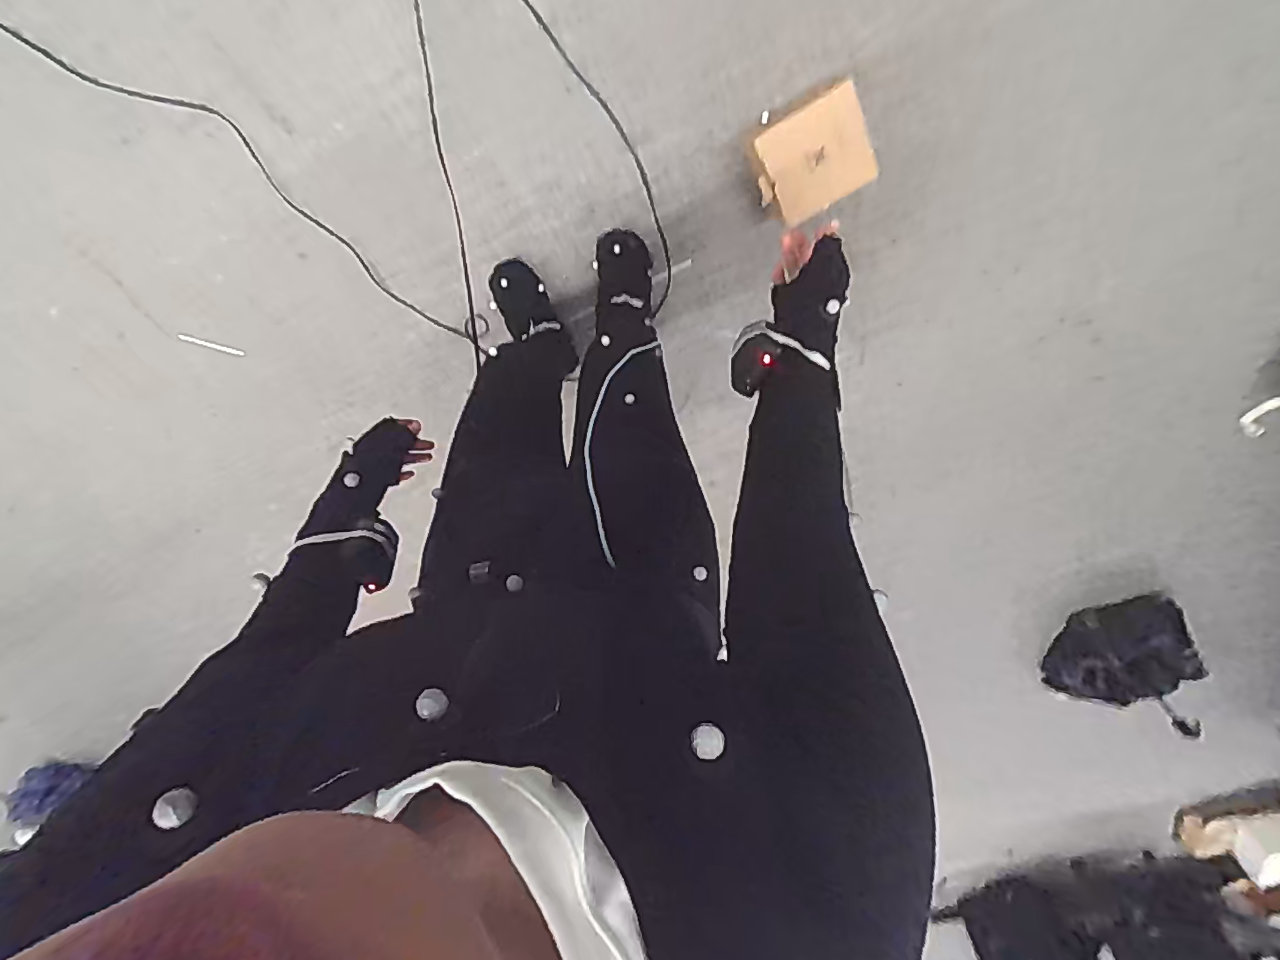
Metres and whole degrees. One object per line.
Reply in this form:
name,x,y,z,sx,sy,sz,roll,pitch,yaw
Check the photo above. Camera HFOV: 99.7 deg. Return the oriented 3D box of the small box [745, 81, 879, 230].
small box,0.306,-0.595,0.995,0.179,0.176,0.168,-26,122,15
